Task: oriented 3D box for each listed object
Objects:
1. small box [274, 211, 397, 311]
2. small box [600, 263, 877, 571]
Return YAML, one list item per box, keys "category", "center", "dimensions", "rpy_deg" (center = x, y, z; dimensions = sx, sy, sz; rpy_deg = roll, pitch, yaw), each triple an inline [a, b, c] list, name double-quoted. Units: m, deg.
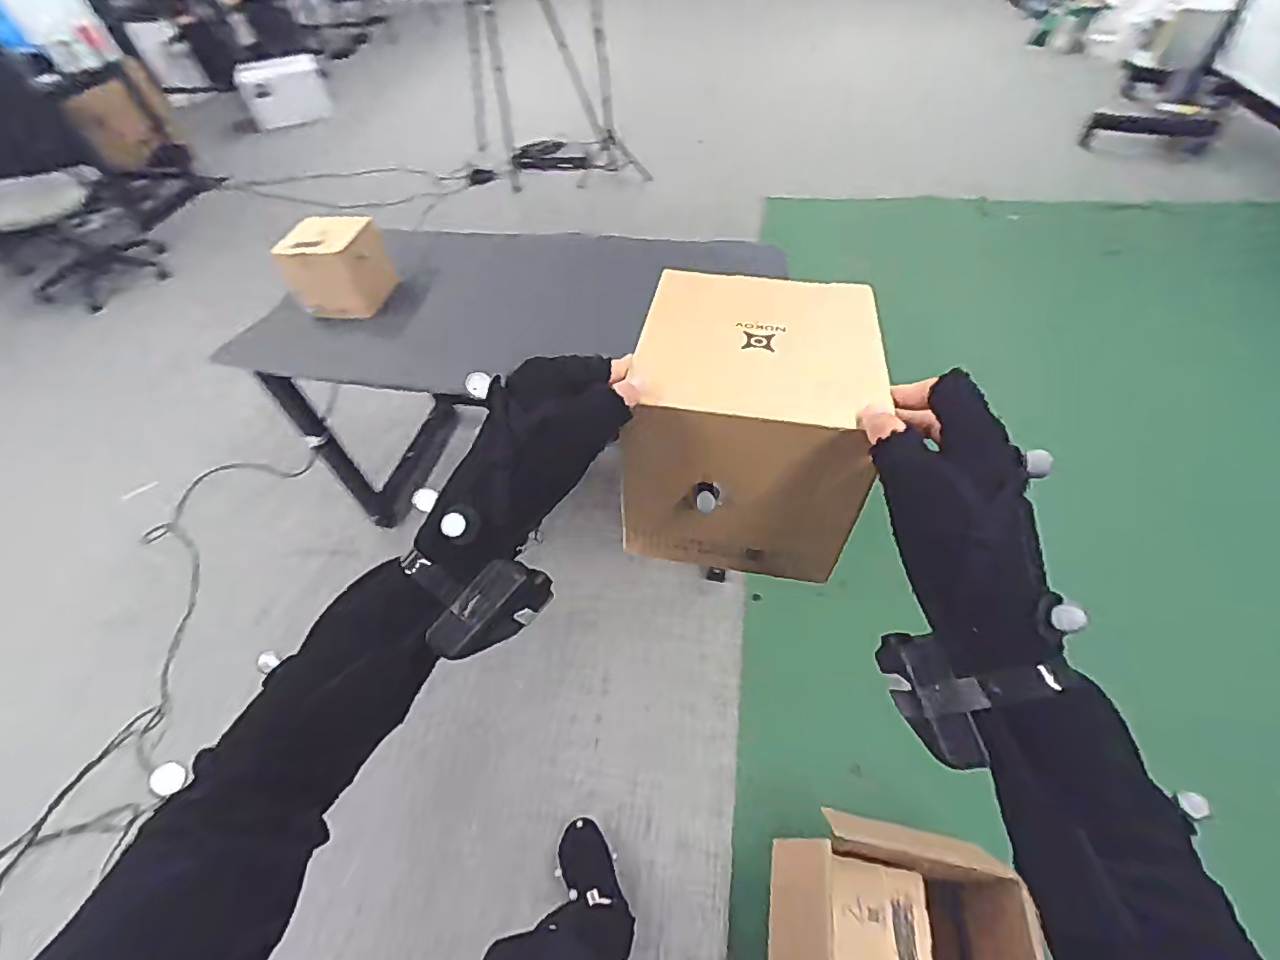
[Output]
- category: "small box"
  center: [-0.716, -0.522, 1.298]
  dimensions: [0.168, 0.176, 0.179]
  rpy_deg: [4, 51, 7]
- category: "small box"
  center: [0.072, -0.049, 0.429]
  dimensions: [0.168, 0.176, 0.179]
  rpy_deg: [7, 47, 7]
